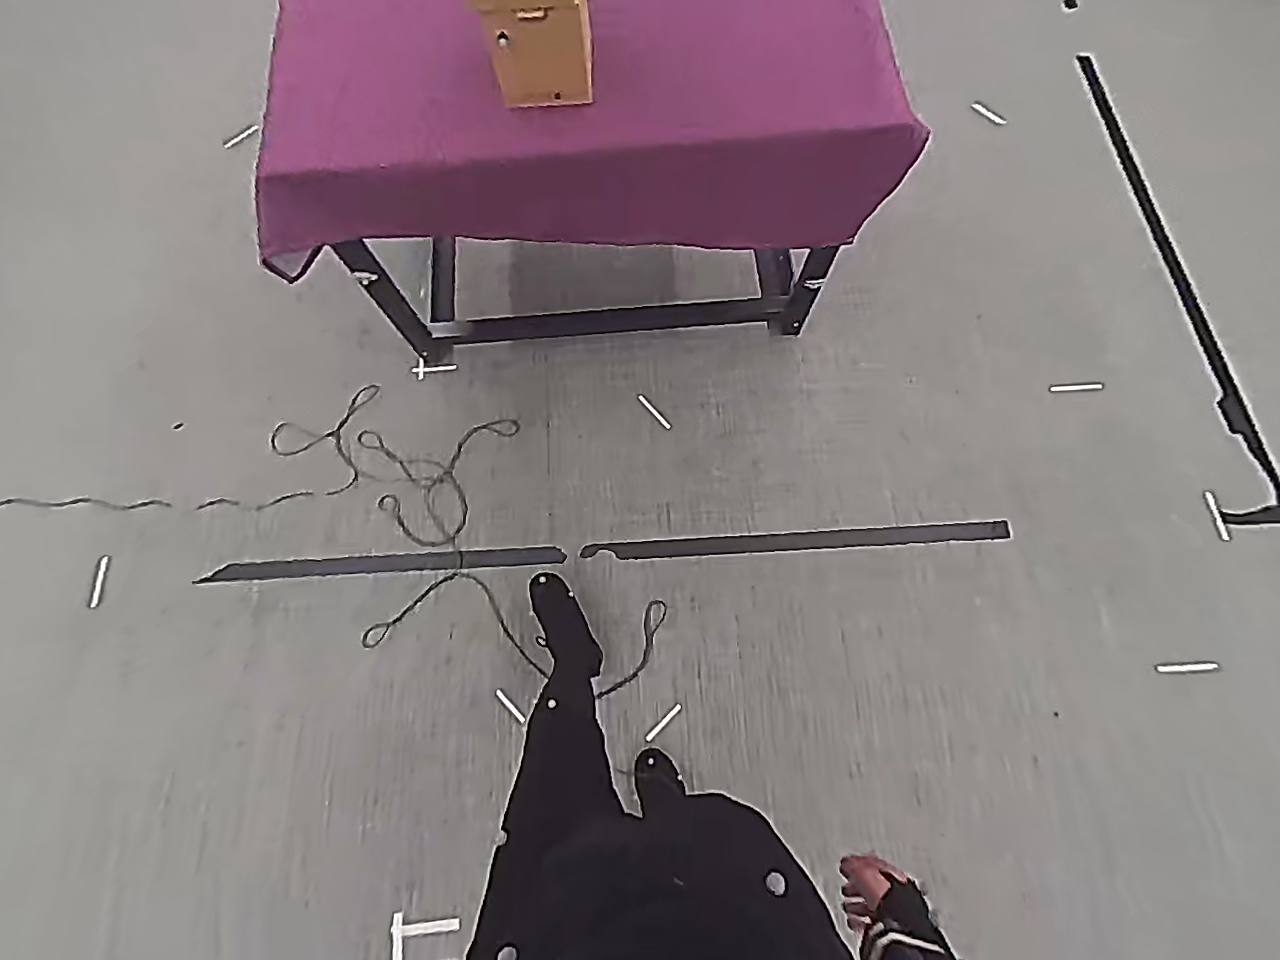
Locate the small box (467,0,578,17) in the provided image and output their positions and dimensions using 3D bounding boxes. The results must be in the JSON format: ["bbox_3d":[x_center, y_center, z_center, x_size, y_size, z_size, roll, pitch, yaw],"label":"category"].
[{"bbox_3d":[-0.192,-0.845,0.817,0.179,0.176,0.168,-2,73,0],"label":"small box"}]
